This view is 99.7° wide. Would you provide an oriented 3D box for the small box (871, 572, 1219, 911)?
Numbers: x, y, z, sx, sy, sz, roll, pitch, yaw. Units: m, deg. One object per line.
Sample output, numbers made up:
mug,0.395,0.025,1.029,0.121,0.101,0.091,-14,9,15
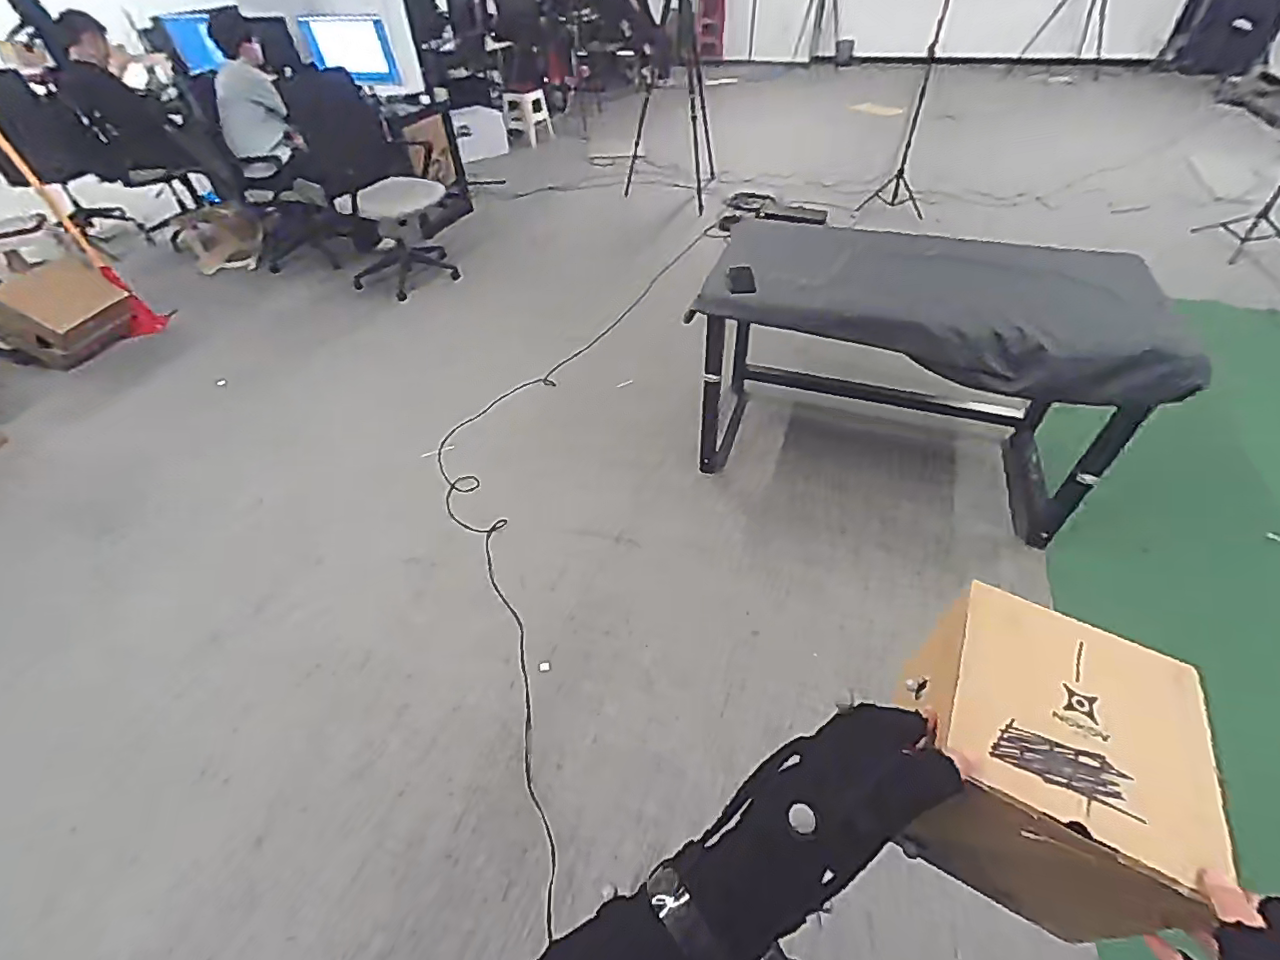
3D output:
small box,0.315,0.219,0.459,0.168,0.176,0.179,22,47,19
